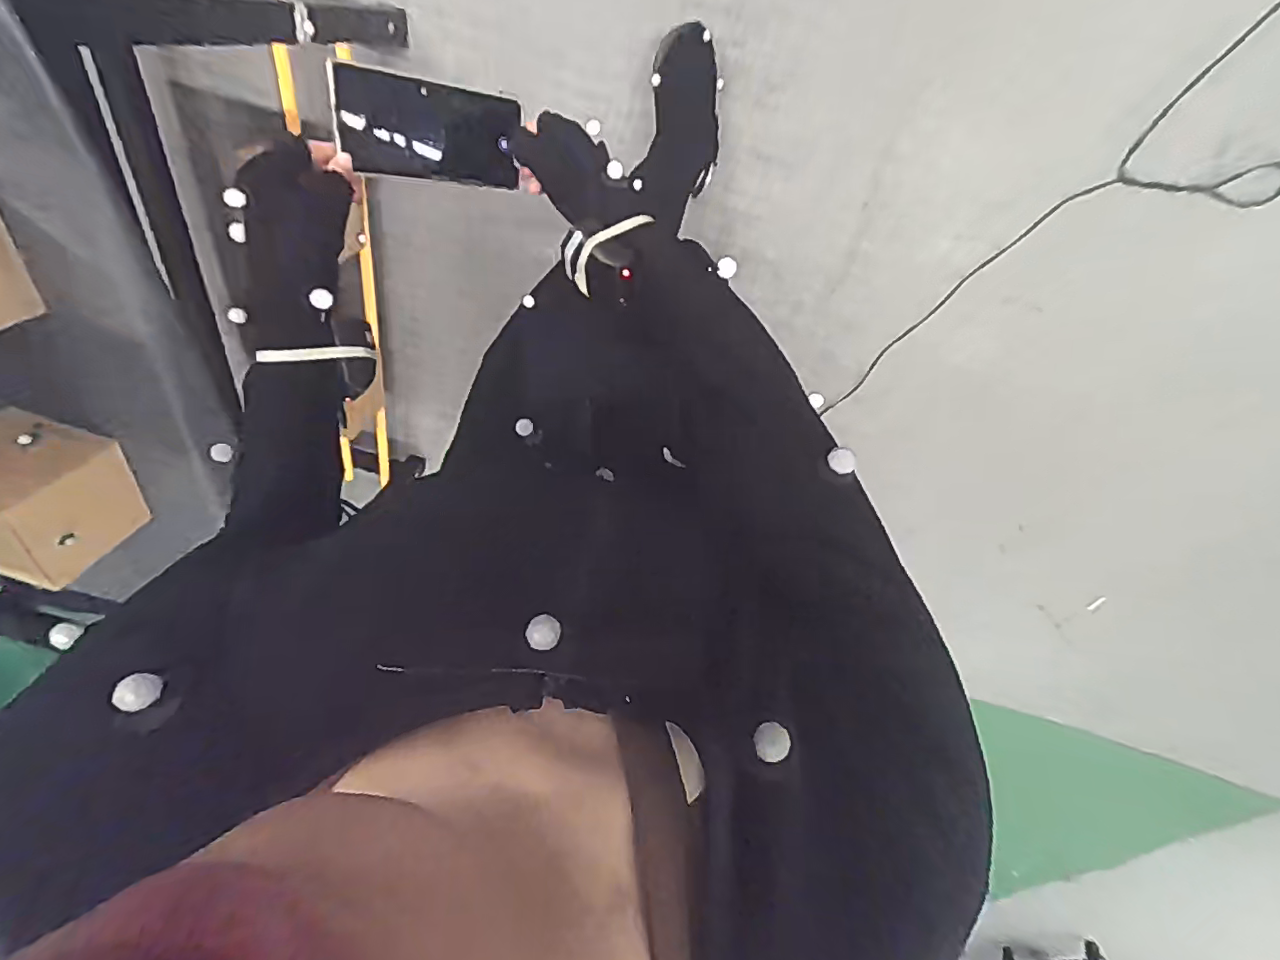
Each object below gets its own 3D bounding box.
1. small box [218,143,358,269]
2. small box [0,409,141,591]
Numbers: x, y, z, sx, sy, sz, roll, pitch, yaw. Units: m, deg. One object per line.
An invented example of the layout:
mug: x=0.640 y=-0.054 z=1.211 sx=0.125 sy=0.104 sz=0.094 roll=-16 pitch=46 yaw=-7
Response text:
small box: x=-0.693 y=-0.558 z=1.093 sx=0.179 sy=0.176 sz=0.168 roll=19 pitch=130 yaw=-4
small box: x=-0.903 y=0.027 z=0.799 sx=0.168 sy=0.176 sz=0.179 roll=19 pitch=130 yaw=-4
